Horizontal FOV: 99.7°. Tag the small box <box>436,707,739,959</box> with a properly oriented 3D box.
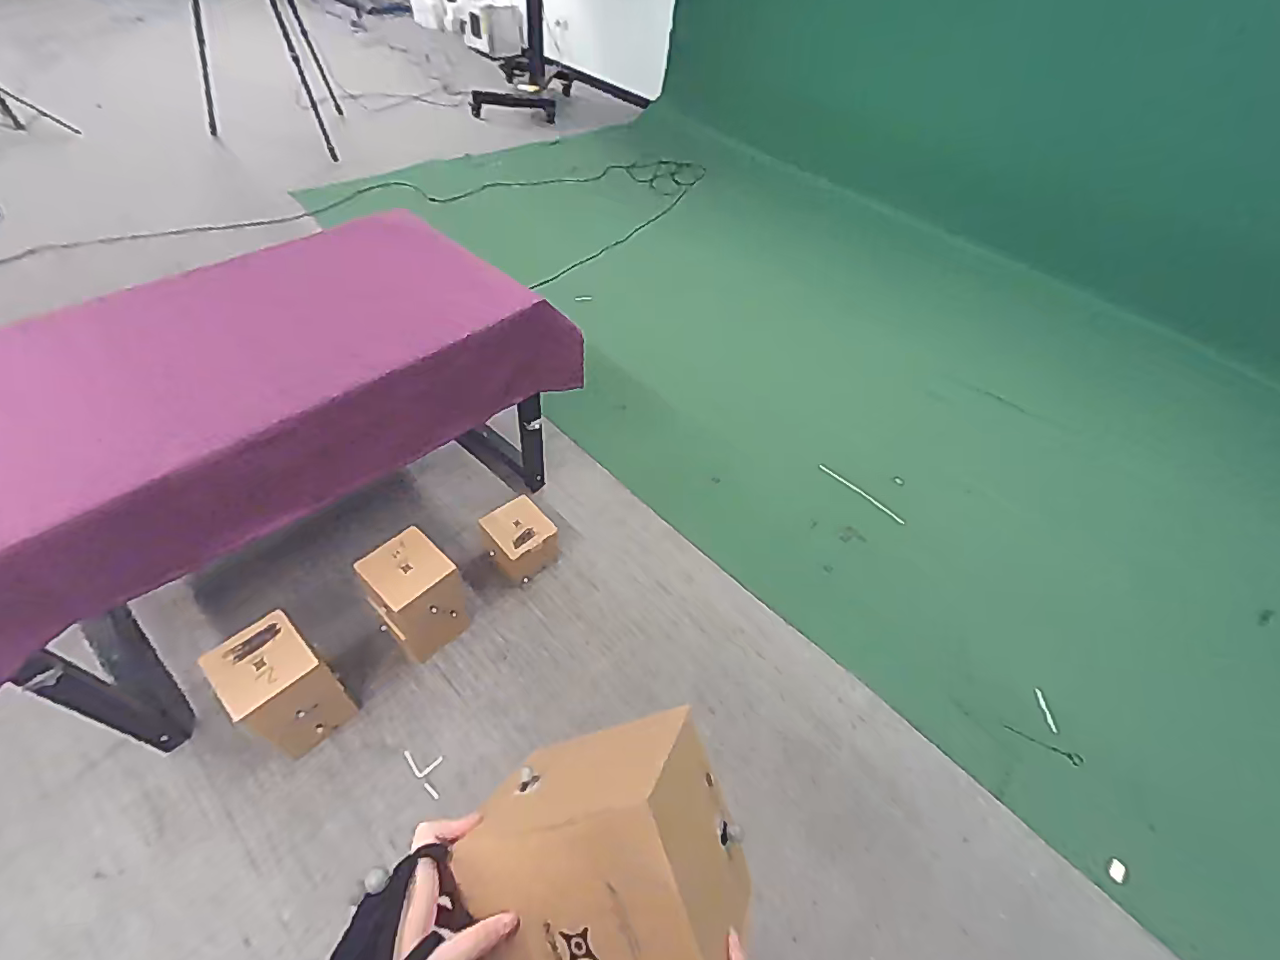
[{"bbox_3d":[-0.030,0.319,0.457,0.179,0.176,0.168,-22,84,15],"label":"small box"}]

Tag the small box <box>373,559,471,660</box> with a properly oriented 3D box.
[{"bbox_3d":[-0.585,0.357,1.474,0.168,0.176,0.179,38,55,22],"label":"small box"}]
